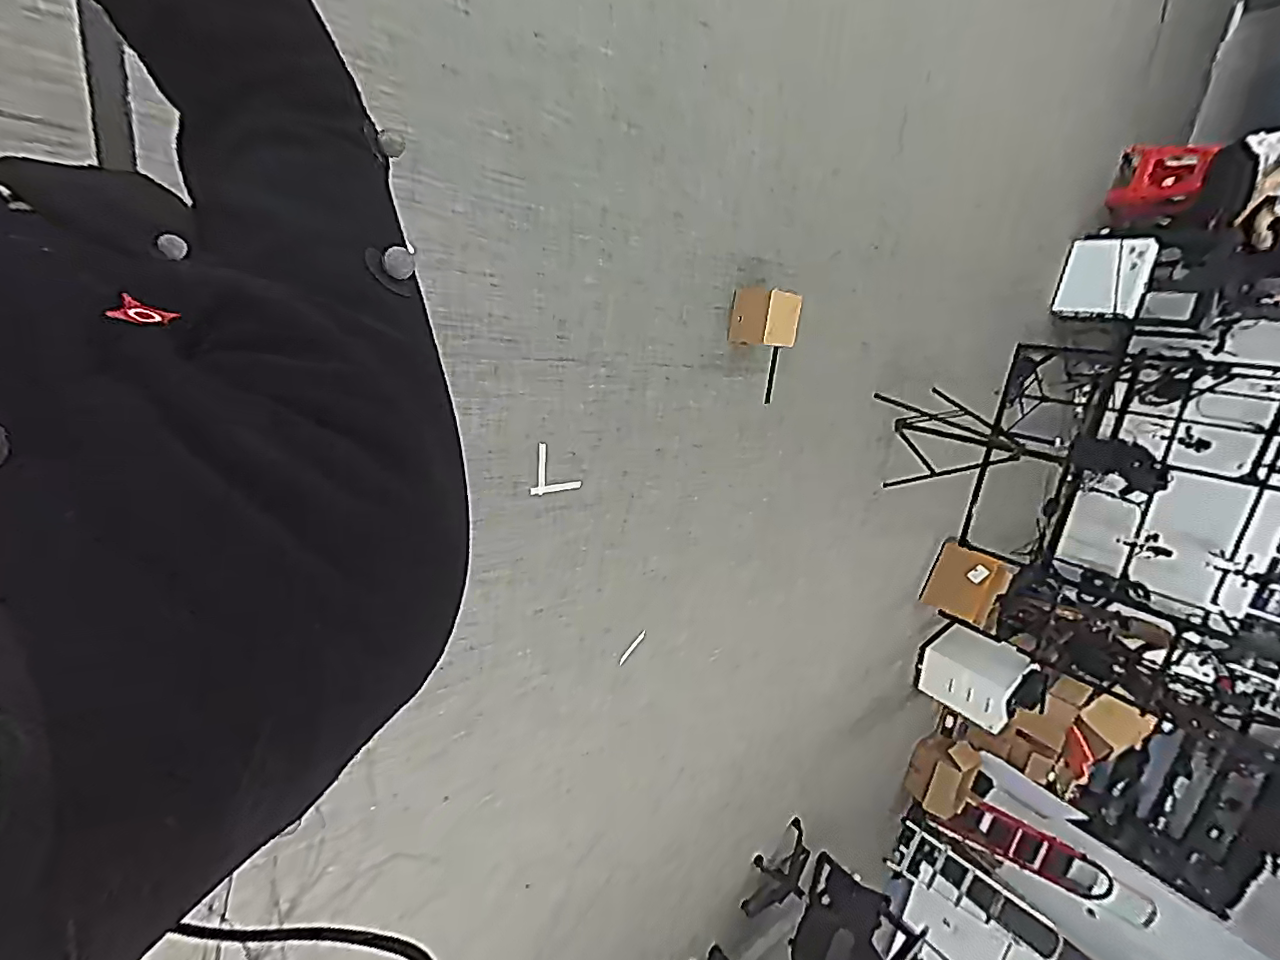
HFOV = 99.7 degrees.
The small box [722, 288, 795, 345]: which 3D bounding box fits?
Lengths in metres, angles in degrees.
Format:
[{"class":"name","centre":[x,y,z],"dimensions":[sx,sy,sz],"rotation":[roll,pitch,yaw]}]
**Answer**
[{"class":"small box","centre":[0.415,-0.569,1.891],"dimensions":[0.168,0.176,0.179],"rotation":[-5,111,-38]}]
